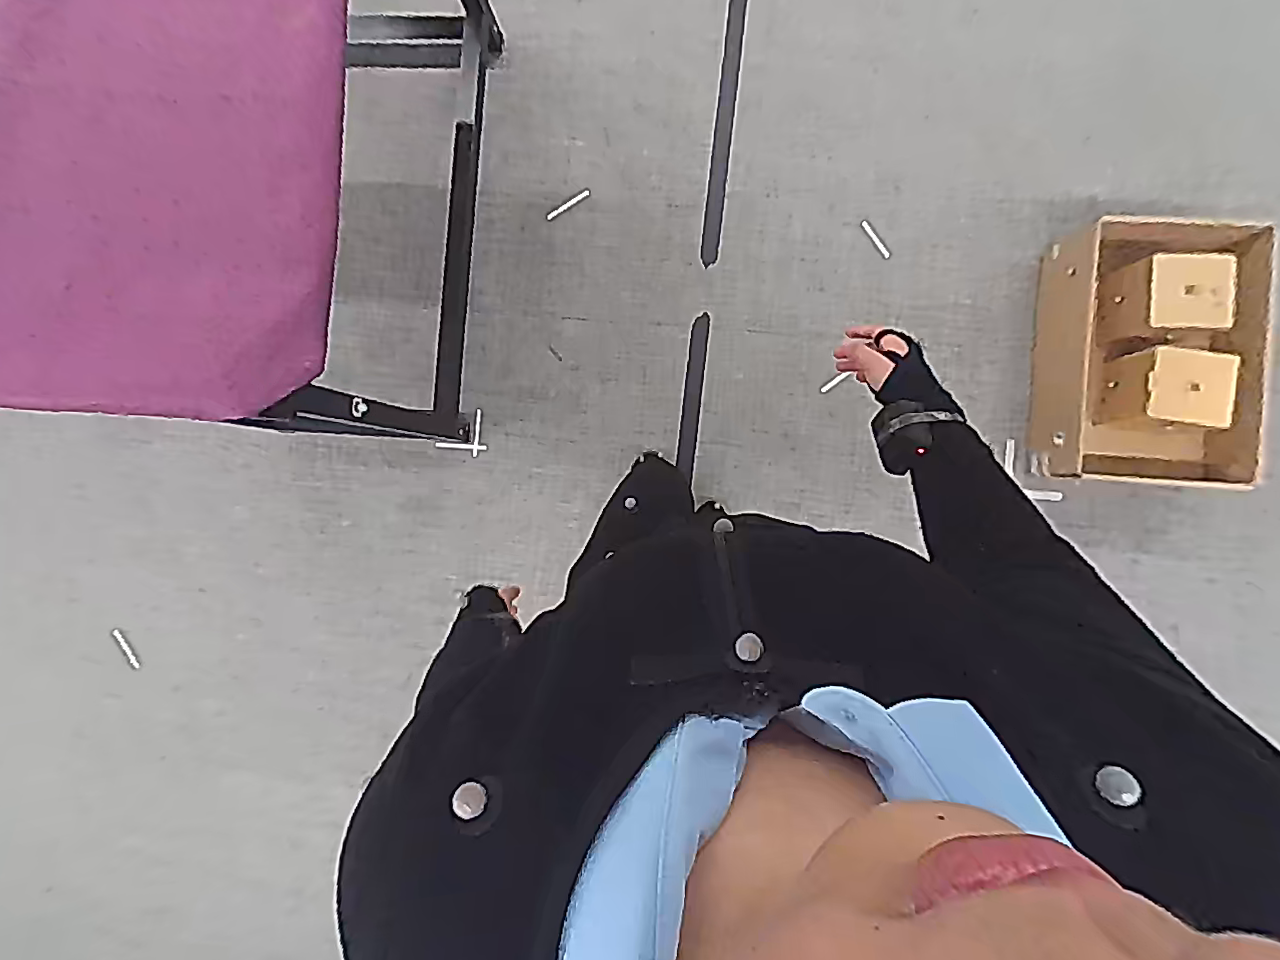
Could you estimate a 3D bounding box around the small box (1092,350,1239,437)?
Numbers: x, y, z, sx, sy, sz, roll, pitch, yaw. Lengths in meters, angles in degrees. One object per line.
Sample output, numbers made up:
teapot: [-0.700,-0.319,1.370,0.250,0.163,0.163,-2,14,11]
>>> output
small box: [1.252,-0.199,1.299,0.179,0.176,0.168,10,89,5]

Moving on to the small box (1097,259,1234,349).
small box: [1.250,-0.417,1.300,0.179,0.176,0.168,3,91,5]
